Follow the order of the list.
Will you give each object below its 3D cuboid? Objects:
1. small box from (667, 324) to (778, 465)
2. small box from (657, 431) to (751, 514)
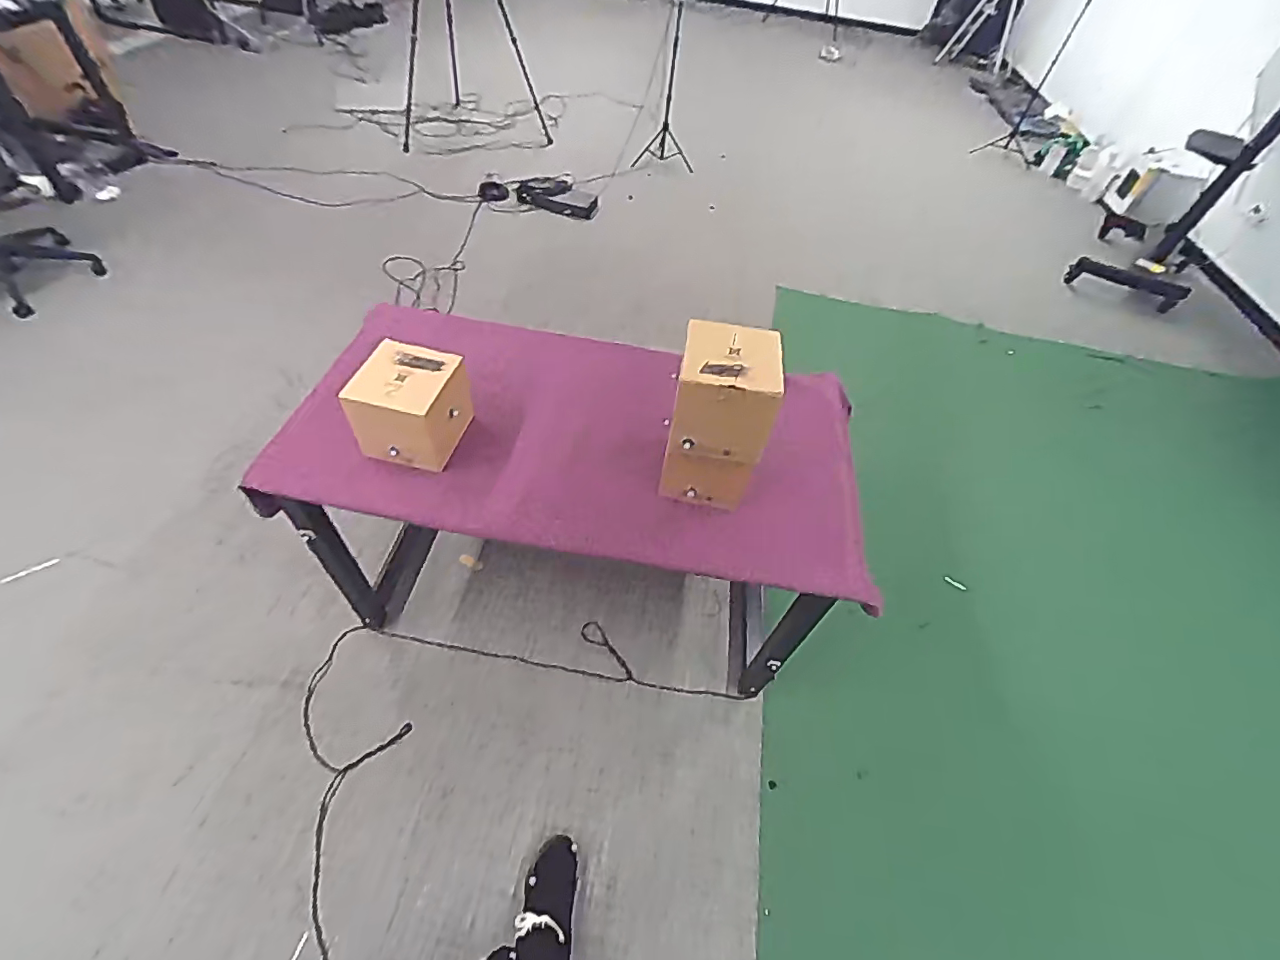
[{"bbox_3d":[0.144,-0.149,0.964,0.168,0.176,0.179,9,49,2],"label":"small box"},{"bbox_3d":[0.132,-0.060,1.102,0.168,0.176,0.179,11,50,3],"label":"small box"}]
